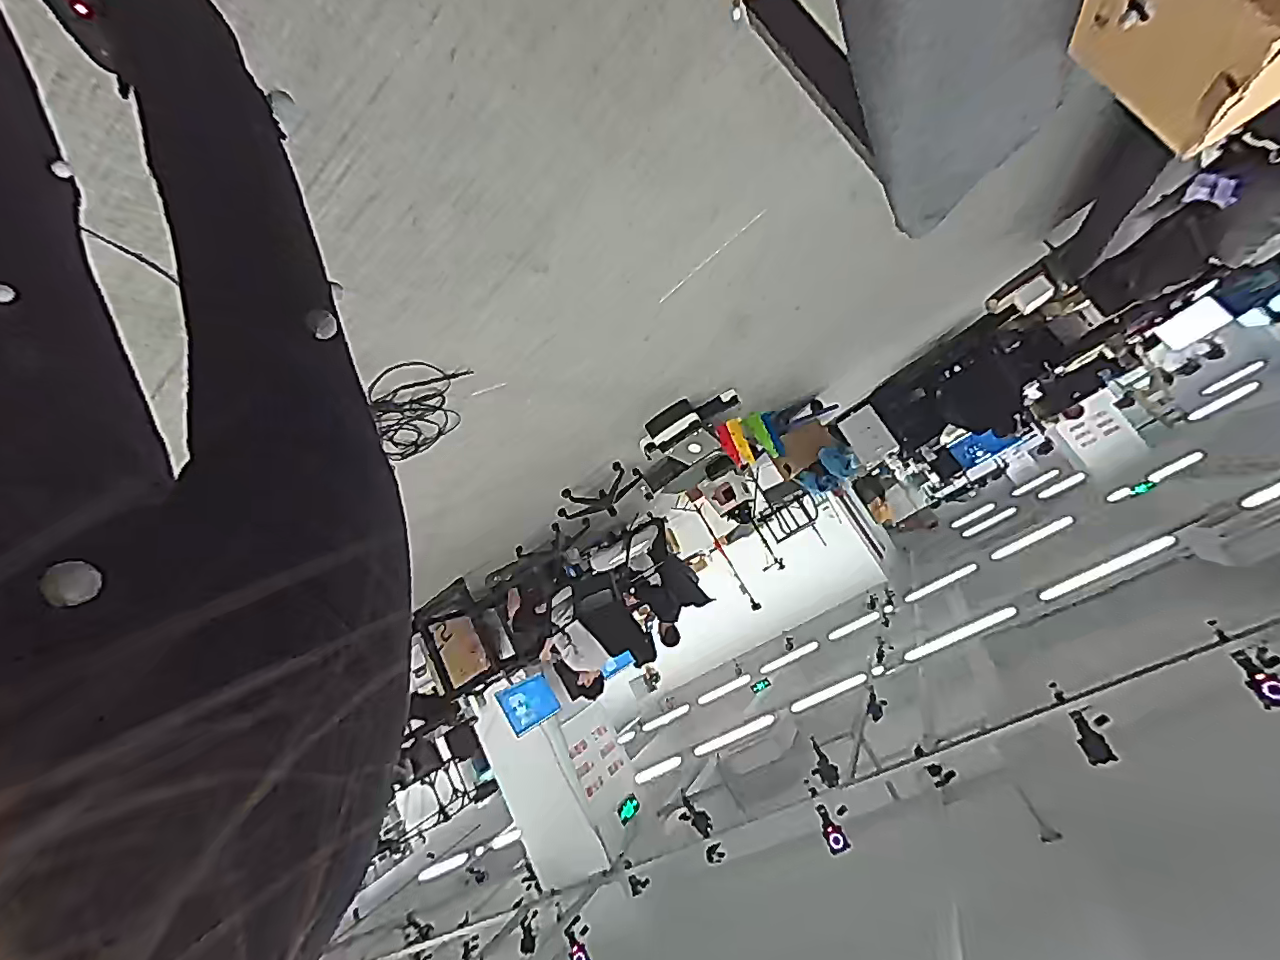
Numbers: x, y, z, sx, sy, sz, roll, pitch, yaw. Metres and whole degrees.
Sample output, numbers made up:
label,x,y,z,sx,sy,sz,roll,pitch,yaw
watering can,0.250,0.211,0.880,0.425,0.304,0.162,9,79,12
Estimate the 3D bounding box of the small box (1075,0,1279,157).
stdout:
label,x,y,z,sx,sy,sz,roll,pitch,yaw
small box,0.501,-0.415,0.421,0.179,0.176,0.168,-35,165,24
